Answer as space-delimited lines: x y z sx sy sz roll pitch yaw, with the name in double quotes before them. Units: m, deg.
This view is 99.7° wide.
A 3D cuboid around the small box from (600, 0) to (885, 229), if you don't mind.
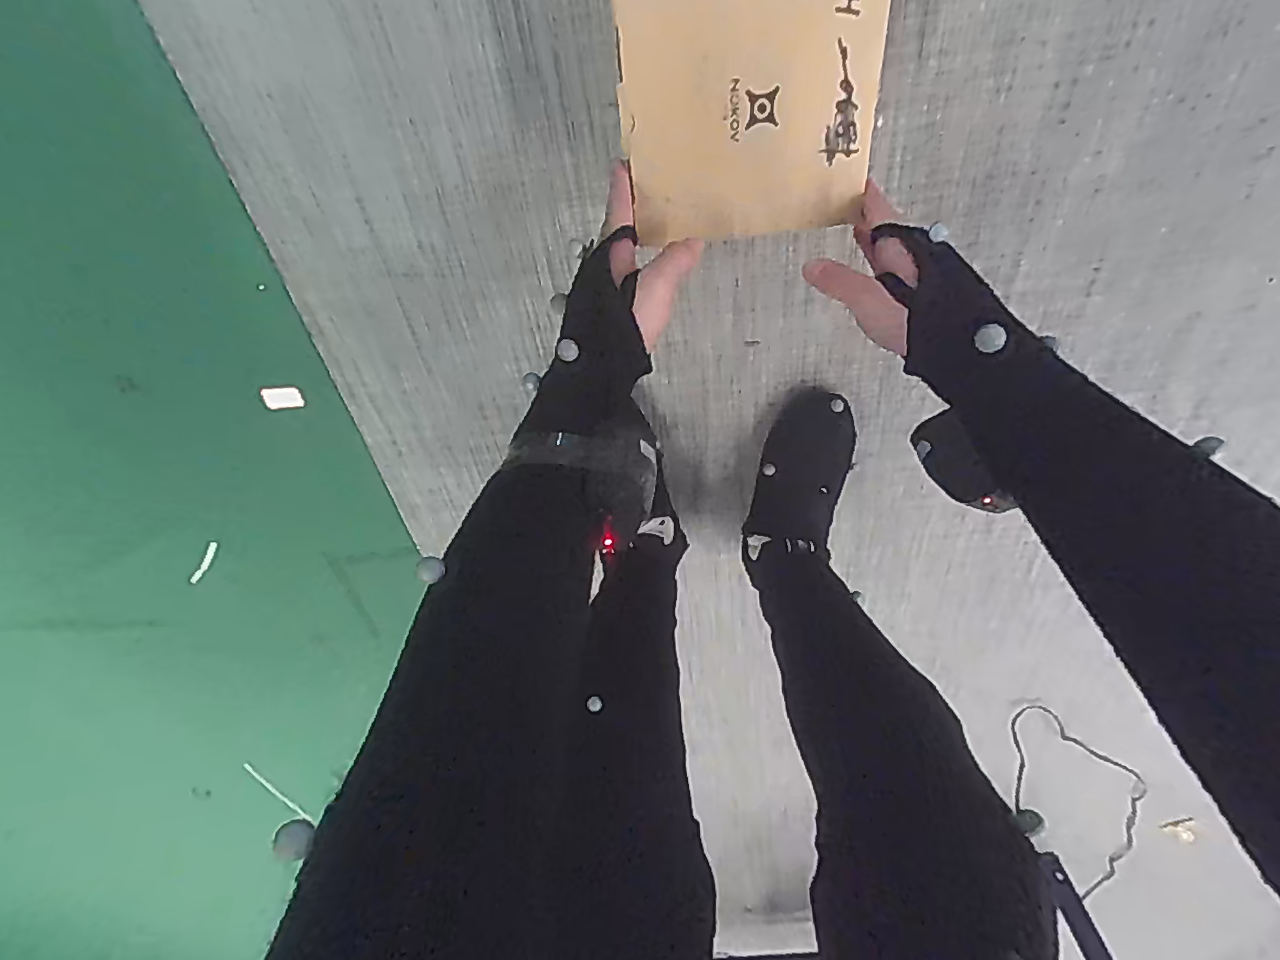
"small box" 0.069 -0.307 0.420 0.179 0.176 0.168 -4 127 4
